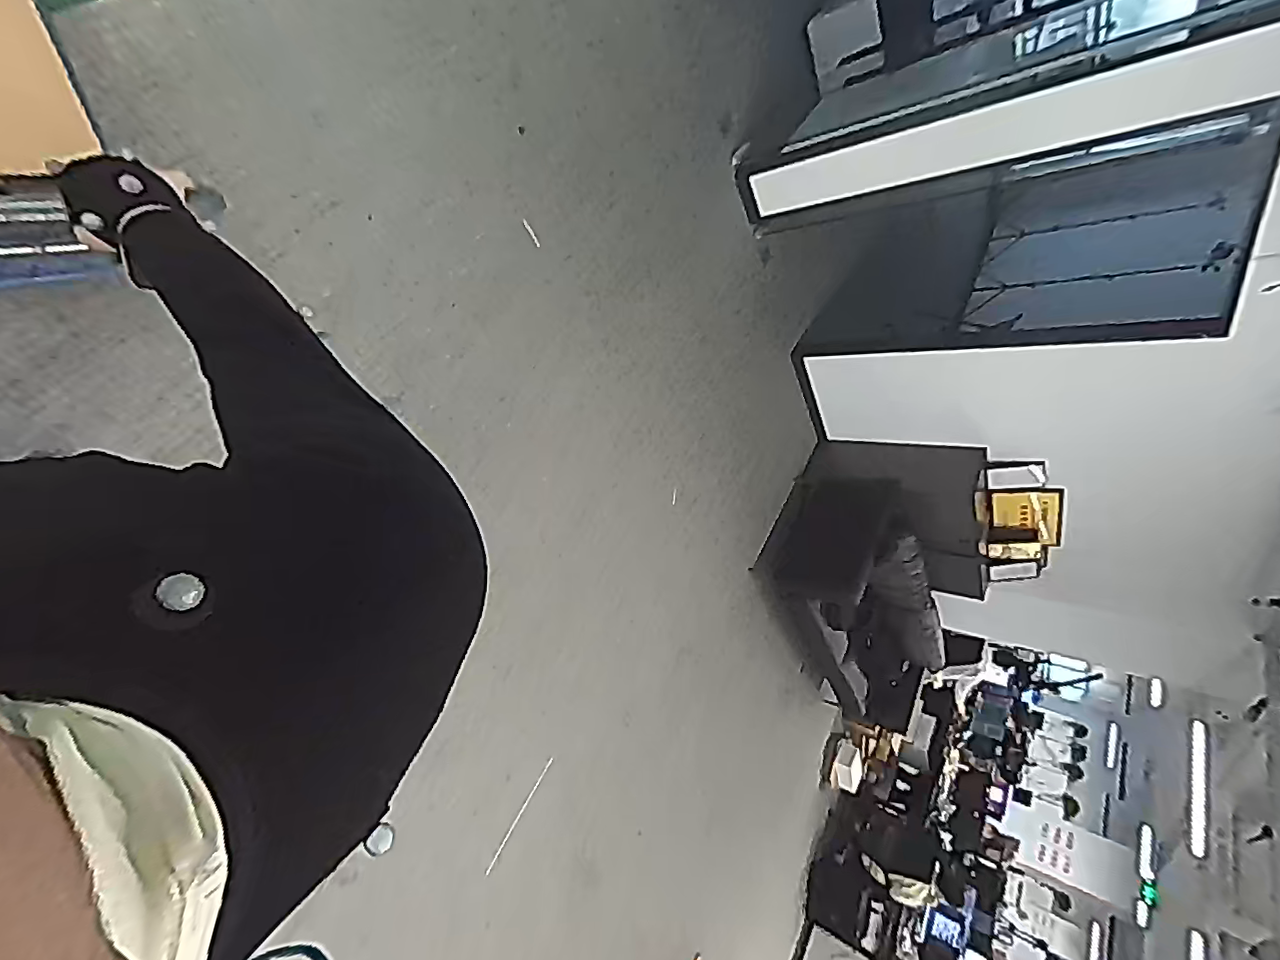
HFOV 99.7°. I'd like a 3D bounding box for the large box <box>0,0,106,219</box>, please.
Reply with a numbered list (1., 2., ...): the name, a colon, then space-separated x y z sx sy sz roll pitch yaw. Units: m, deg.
1. large box: -1.059 -0.605 0.753 0.320 0.320 0.408 -32 119 -43
